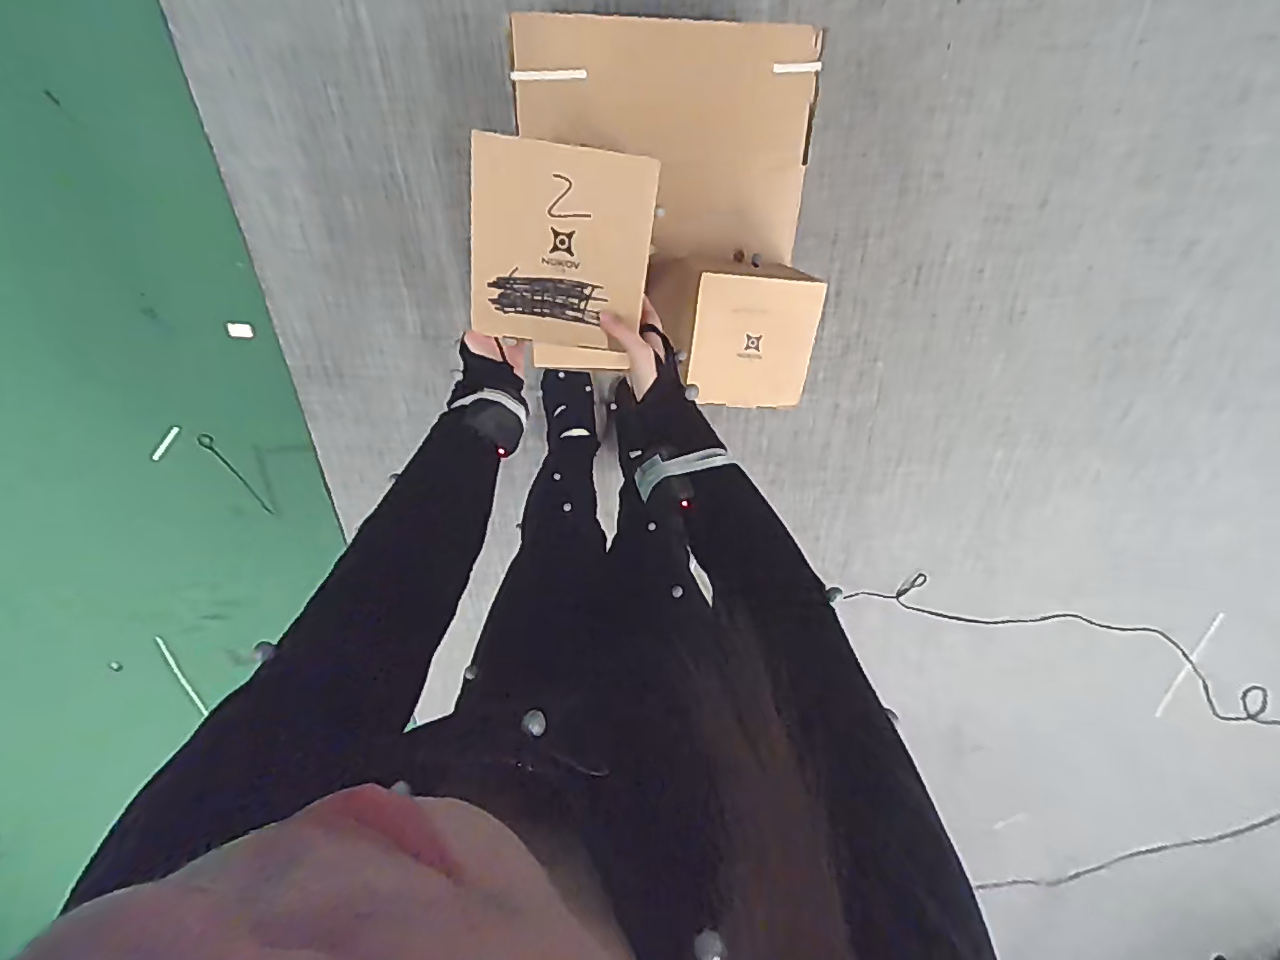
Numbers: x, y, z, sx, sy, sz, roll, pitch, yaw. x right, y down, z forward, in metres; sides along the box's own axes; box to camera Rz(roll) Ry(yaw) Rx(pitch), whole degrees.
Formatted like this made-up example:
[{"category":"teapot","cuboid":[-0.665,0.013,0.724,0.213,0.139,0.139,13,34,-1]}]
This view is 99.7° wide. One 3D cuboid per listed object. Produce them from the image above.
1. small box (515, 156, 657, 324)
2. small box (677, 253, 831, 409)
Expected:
[{"category":"small box","cuboid":[-0.071,-0.319,0.723,0.168,0.176,0.179,4,117,-3]},{"category":"small box","cuboid":[0.149,-0.220,0.783,0.168,0.176,0.179,3,118,-5]}]
